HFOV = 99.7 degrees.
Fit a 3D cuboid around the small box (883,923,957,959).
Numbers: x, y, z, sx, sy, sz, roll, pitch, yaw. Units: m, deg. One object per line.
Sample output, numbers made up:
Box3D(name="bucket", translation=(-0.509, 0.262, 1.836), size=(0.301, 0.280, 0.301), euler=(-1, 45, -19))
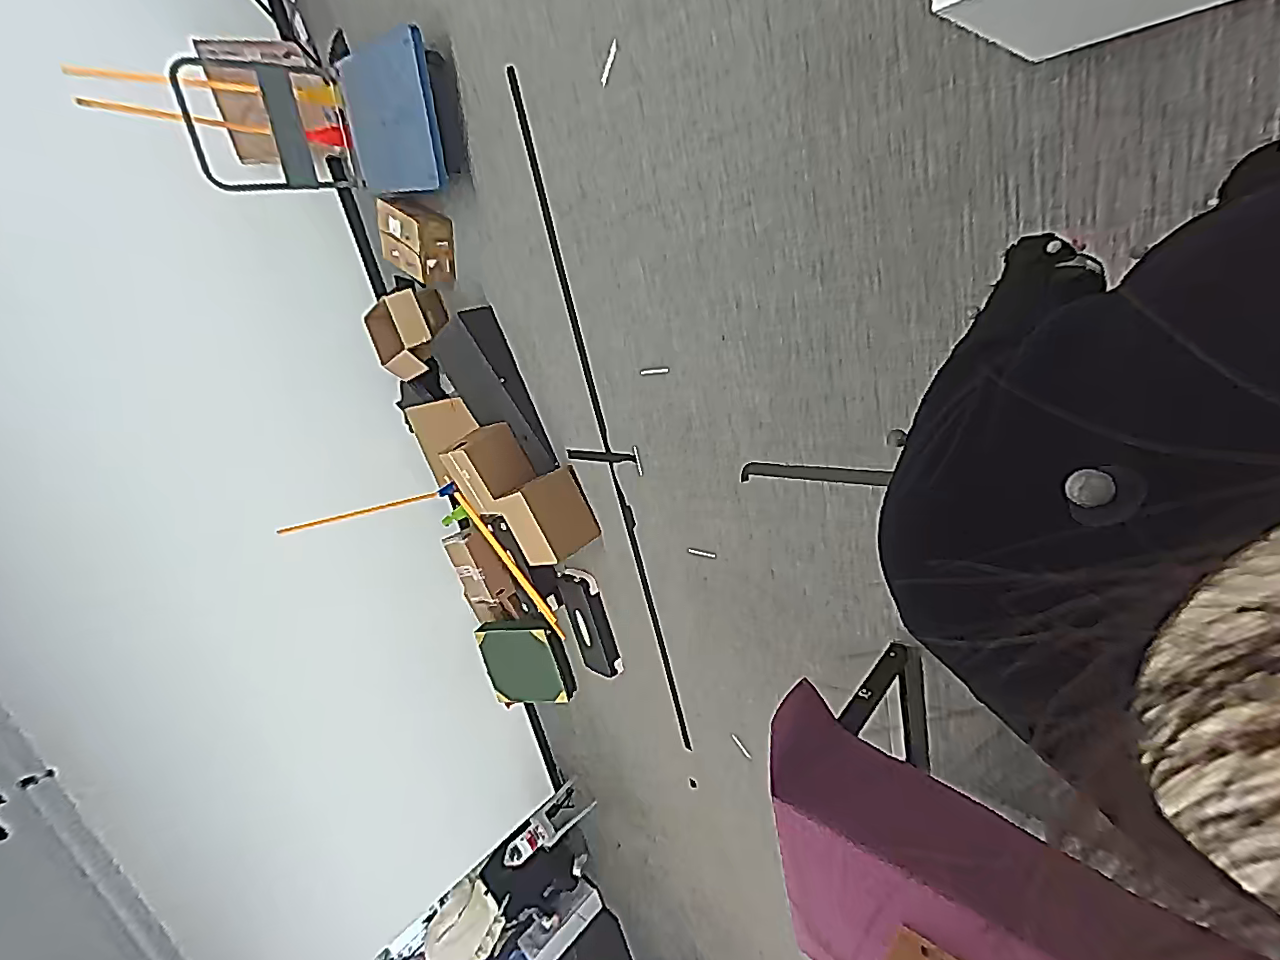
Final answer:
Box3D(name="small box", translation=(0.596, 1.089, 1.120), size=(0.168, 0.176, 0.179), euler=(7, 117, 47))
